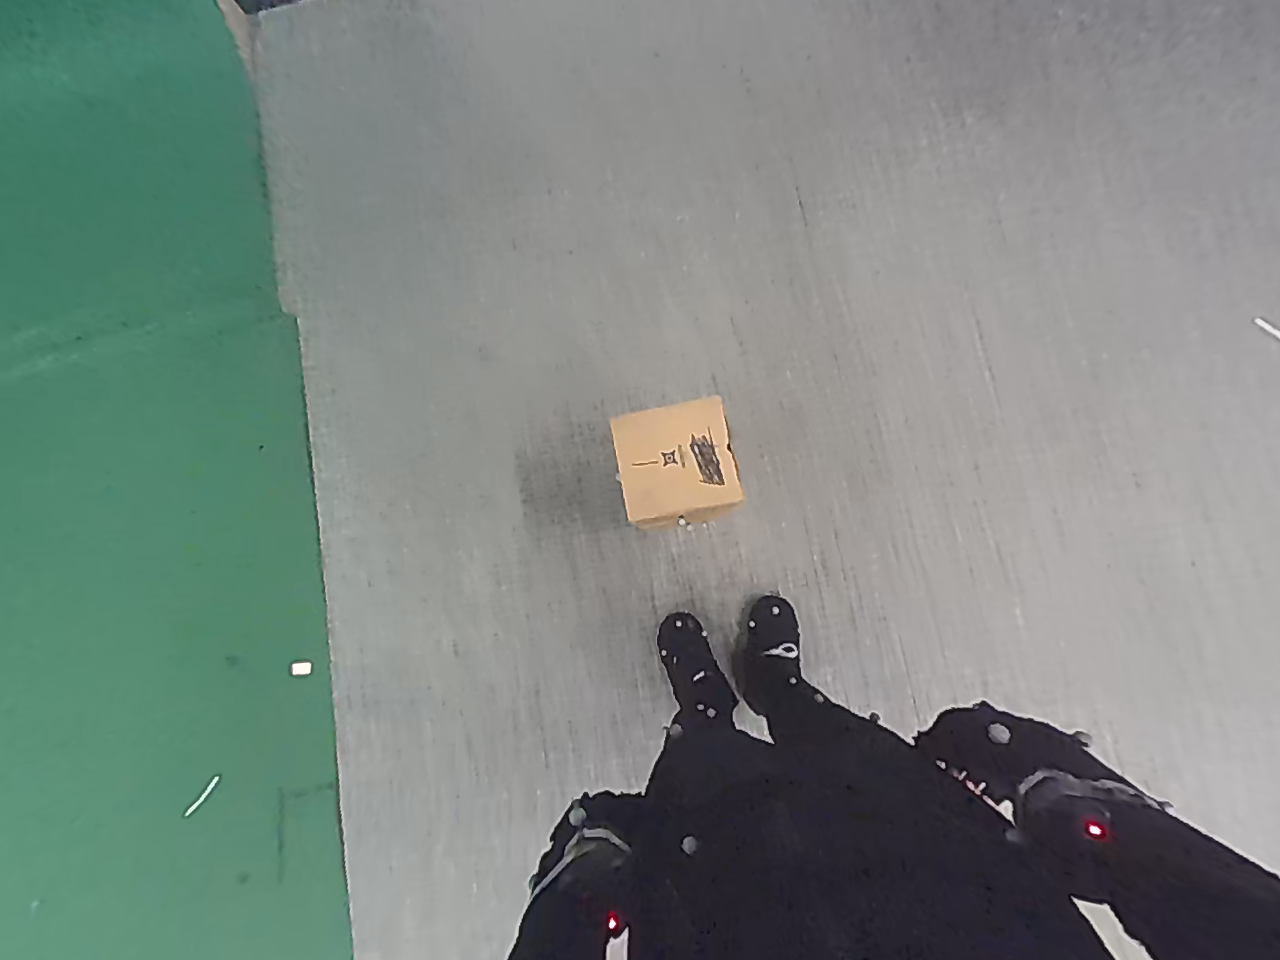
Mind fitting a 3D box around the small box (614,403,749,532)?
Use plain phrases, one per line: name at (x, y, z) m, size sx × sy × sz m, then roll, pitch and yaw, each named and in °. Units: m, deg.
small box at (0.064, -0.012, 0.892) m, size 0.179 × 0.176 × 0.168 m, roll -14°, pitch 82°, yaw 2°
